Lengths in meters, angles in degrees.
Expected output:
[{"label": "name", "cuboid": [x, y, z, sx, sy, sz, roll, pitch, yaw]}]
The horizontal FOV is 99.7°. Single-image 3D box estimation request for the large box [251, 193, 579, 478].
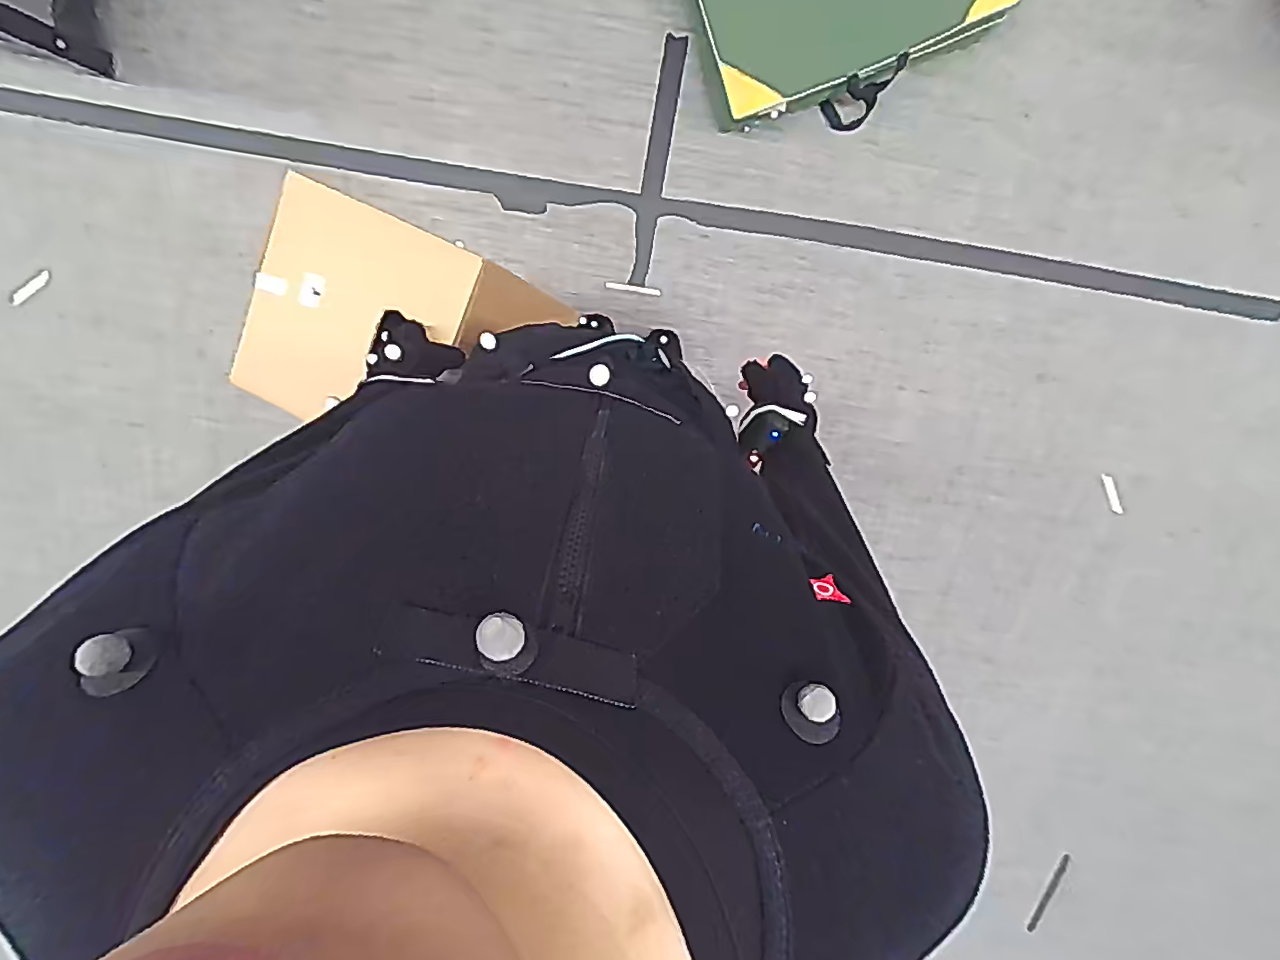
[{"label": "large box", "cuboid": [-0.353, -0.229, 0.941, 0.320, 0.408, 0.320, 27, 102, 6]}]
